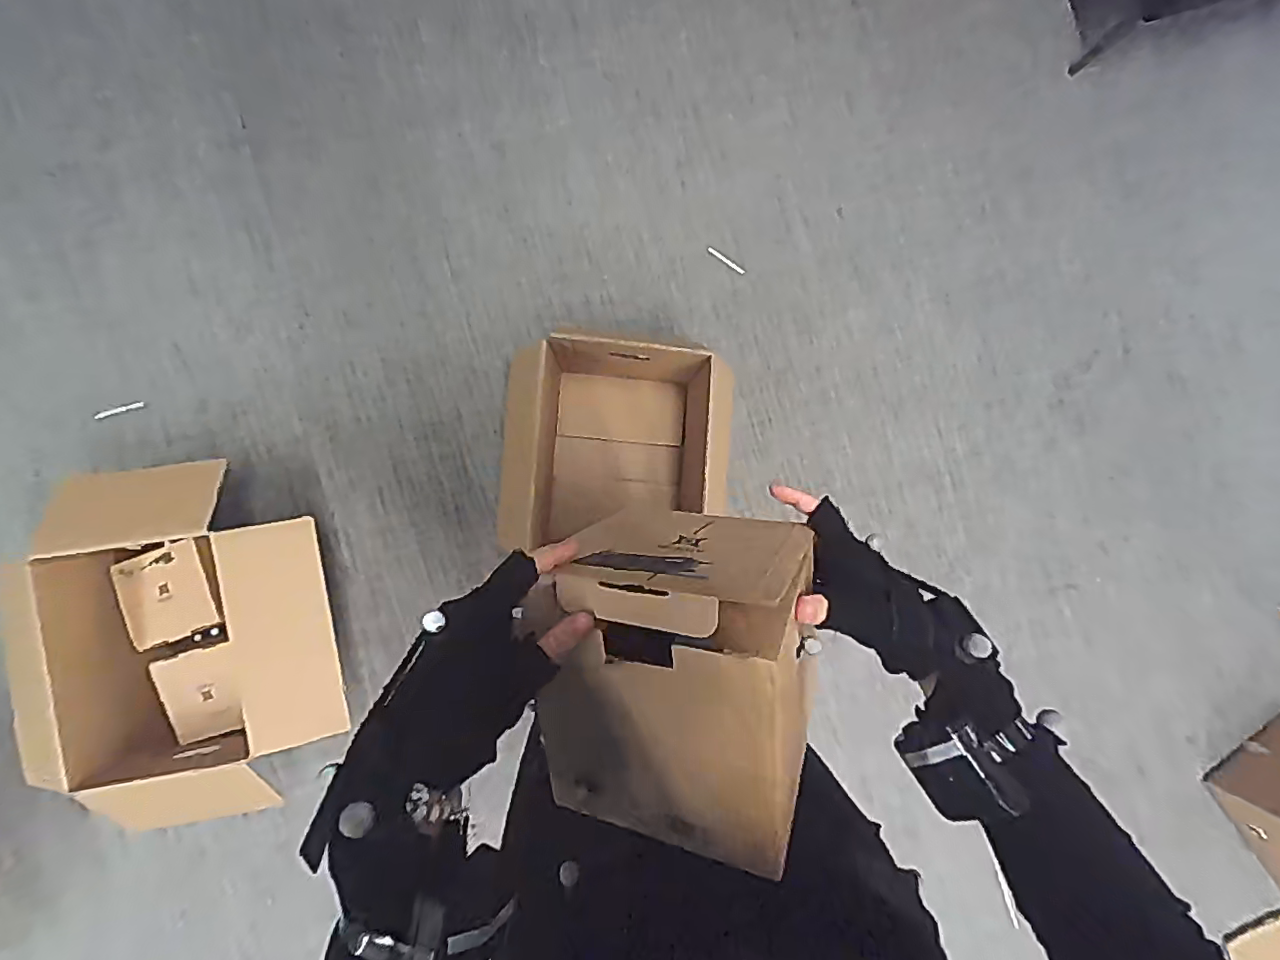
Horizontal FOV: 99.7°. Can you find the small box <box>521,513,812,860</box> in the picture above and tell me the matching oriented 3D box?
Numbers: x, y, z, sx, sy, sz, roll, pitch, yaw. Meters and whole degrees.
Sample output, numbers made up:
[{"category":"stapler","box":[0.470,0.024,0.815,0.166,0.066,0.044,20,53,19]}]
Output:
[{"category":"small box","box":[0.038,0.140,0.418,0.168,0.179,0.176,3,111,24]}]
